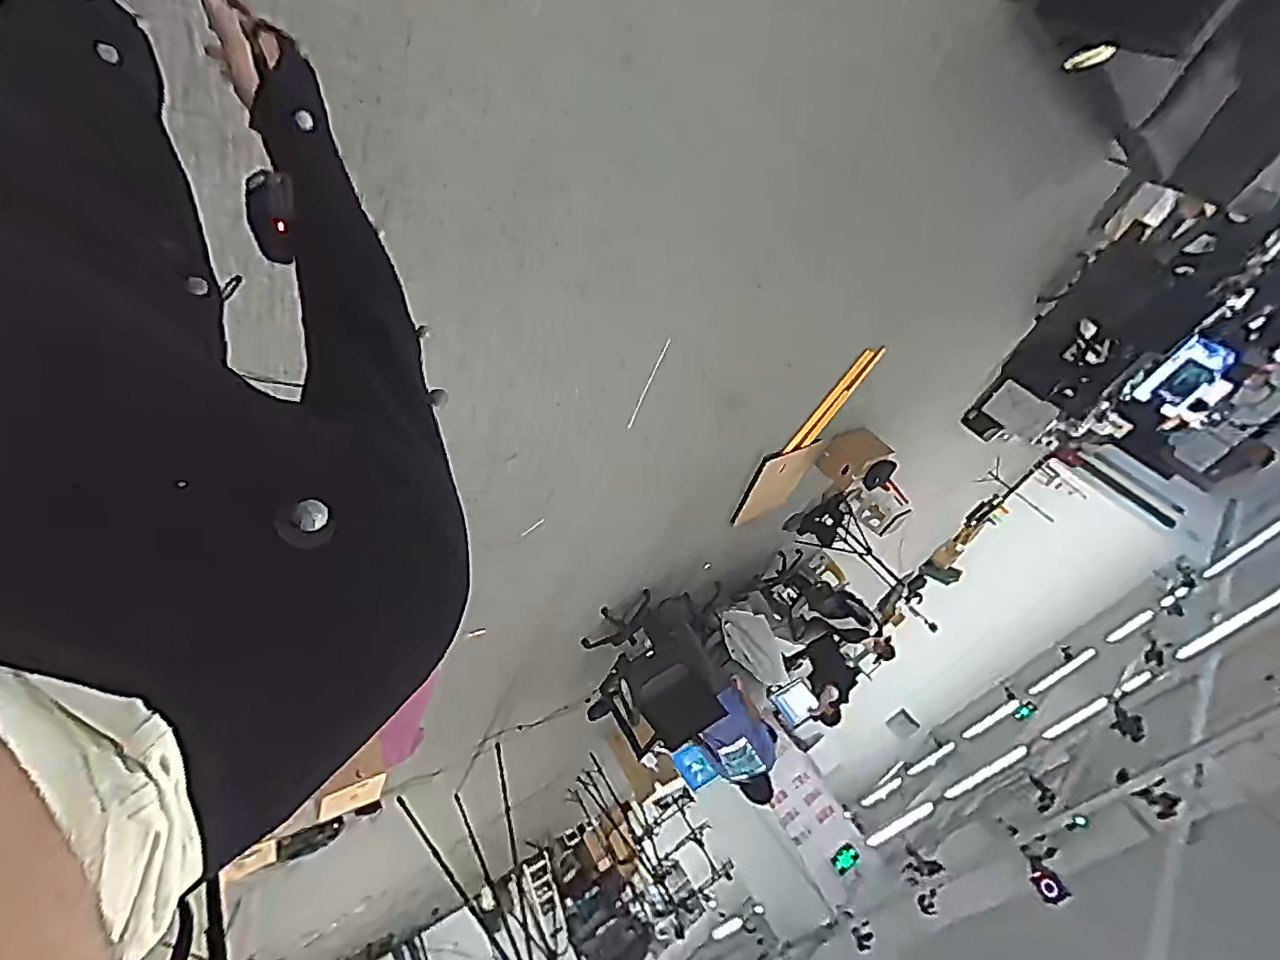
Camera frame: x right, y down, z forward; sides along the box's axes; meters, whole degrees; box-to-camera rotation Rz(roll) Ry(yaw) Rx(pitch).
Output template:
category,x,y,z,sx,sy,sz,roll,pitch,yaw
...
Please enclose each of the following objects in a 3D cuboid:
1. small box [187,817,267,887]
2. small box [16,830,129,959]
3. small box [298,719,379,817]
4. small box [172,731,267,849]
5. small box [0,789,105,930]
category,x,y,z,sx,sy,sz,roll,pitch,yaw
small box,-1.143,0.961,1.489,0.168,0.176,0.179,-8,138,-41
small box,-1.355,0.987,1.301,0.168,0.176,0.179,-10,138,-41
small box,-0.892,0.840,1.589,0.168,0.176,0.179,-8,138,-43
small box,-1.030,0.754,1.330,0.168,0.176,0.179,-9,139,-41
small box,-1.260,0.796,1.146,0.168,0.176,0.179,-8,138,-41
